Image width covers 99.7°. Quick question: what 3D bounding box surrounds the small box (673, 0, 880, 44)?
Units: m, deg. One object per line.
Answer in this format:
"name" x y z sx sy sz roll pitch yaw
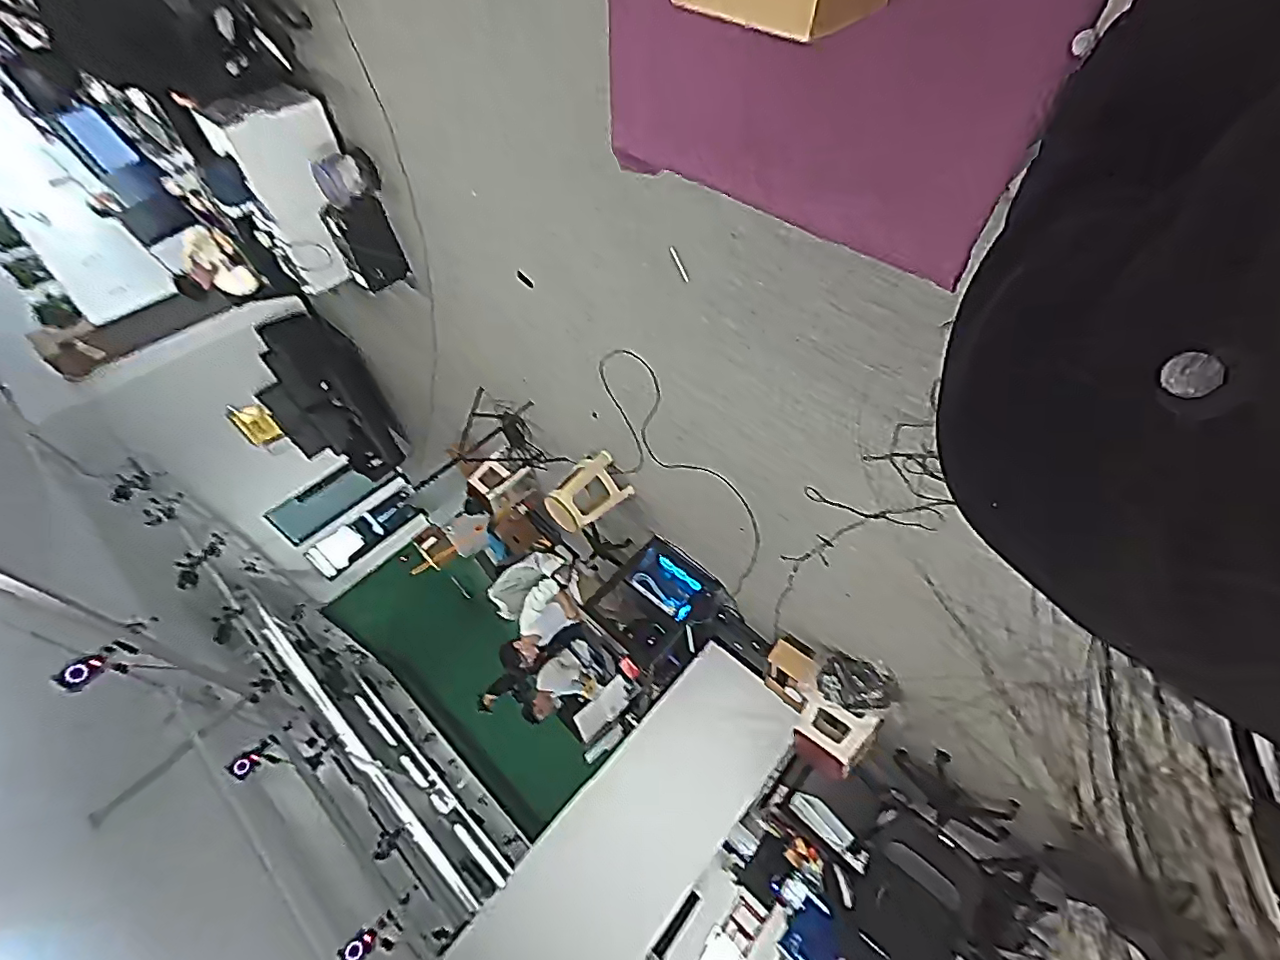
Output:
"small box" 0.154 -0.564 0.525 0.179 0.176 0.168 37 152 21
